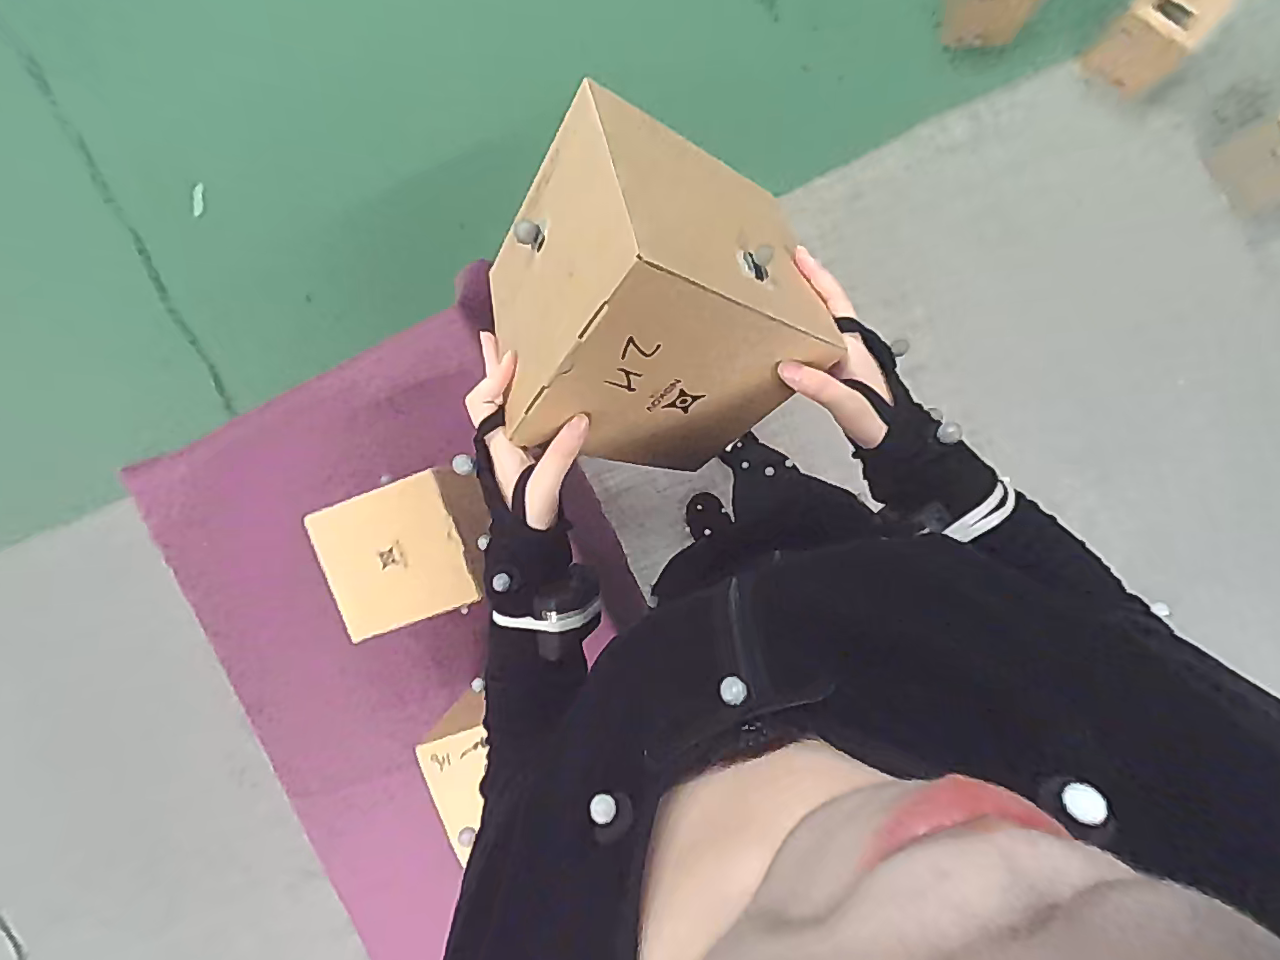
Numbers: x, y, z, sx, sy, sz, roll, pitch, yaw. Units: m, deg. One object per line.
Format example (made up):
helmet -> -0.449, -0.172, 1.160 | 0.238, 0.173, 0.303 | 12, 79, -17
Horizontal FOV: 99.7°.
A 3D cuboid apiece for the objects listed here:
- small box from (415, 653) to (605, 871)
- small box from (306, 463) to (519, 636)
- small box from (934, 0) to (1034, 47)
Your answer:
small box -> -0.159, 0.365, 0.727 | 0.168, 0.176, 0.179 | -22, 92, 6
small box -> -0.288, 0.082, 0.722 | 0.179, 0.176, 0.168 | -20, 92, 6
small box -> 0.810, -1.165, 1.265 | 0.168, 0.176, 0.179 | 2, 94, 6
